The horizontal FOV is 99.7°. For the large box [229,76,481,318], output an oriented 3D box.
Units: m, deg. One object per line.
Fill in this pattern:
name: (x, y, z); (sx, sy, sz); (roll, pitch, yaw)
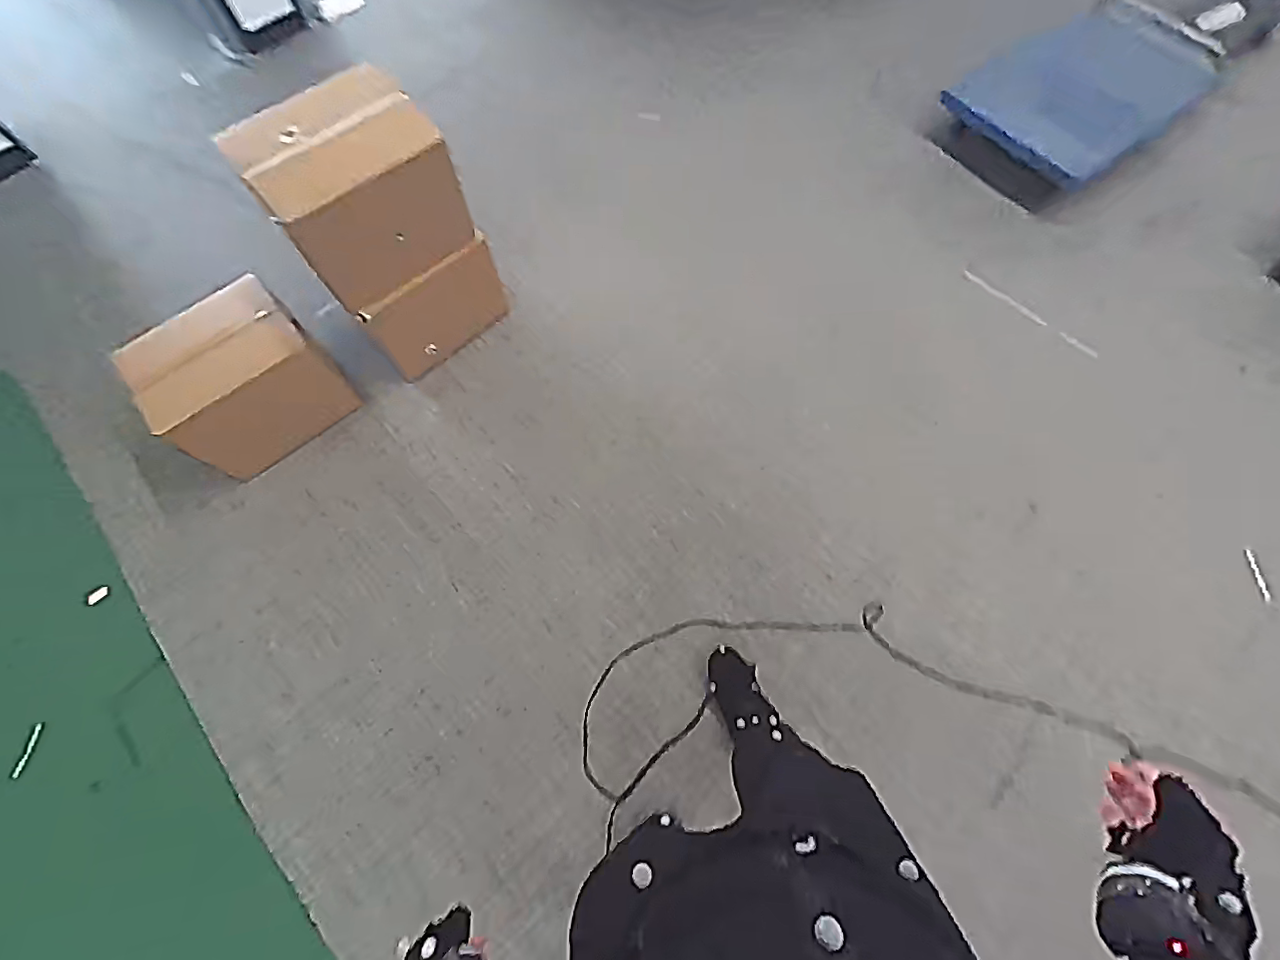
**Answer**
large box: (-0.683, -0.699, 1.366); (0.408, 0.320, 0.320); (-39, 76, -13)
